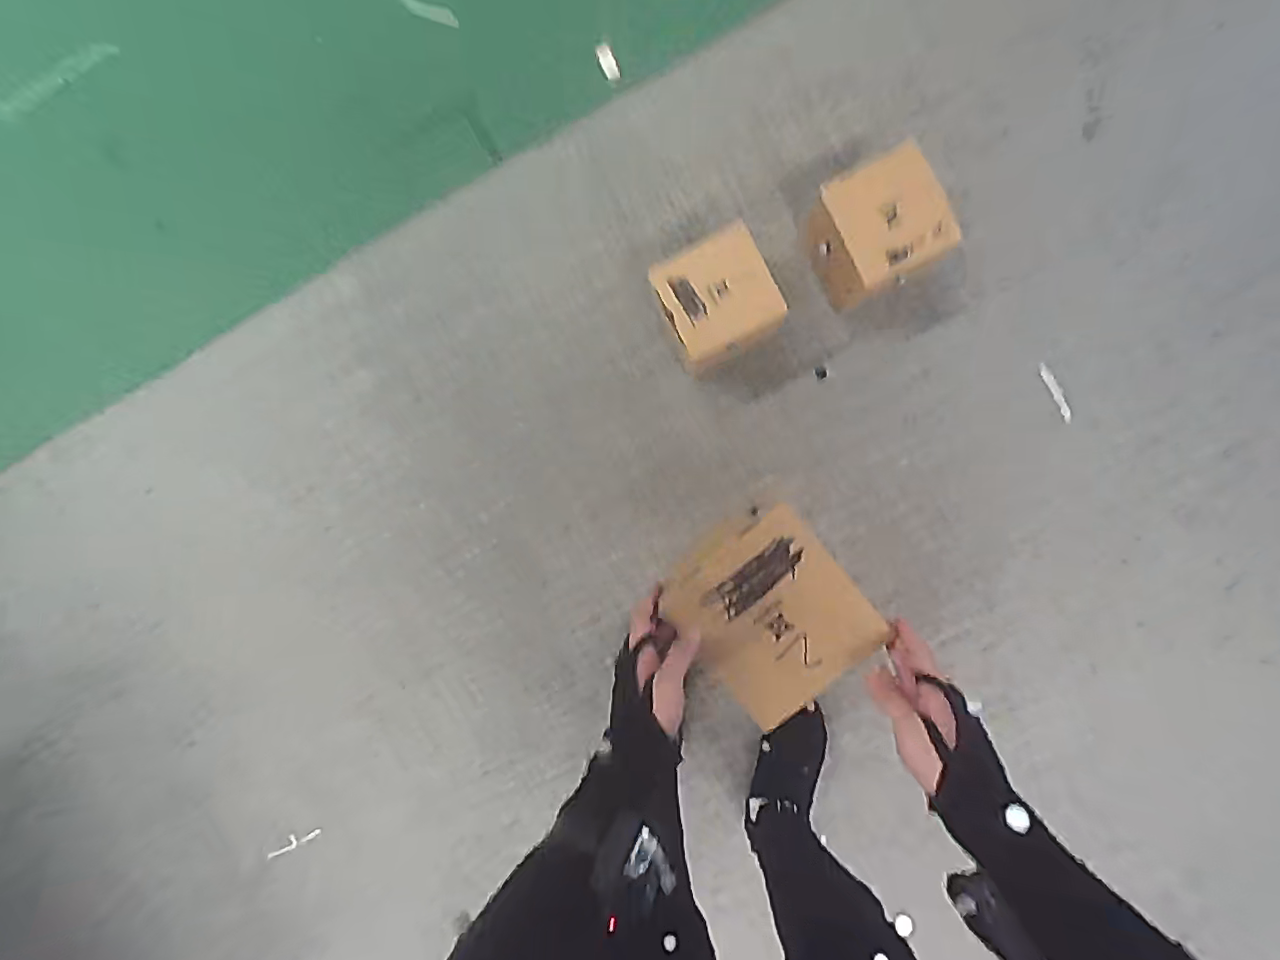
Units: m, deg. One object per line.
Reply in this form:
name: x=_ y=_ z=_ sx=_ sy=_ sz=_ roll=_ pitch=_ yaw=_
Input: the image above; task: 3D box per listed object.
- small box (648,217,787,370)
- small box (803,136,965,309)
small box: x=0.131 y=-0.309 z=0.942 sx=0.179 sy=0.176 sz=0.168 roll=-27 pitch=89 yaw=5
small box: x=0.397 y=-0.420 z=0.916 sx=0.168 sy=0.176 sz=0.179 roll=-25 pitch=88 yaw=5
